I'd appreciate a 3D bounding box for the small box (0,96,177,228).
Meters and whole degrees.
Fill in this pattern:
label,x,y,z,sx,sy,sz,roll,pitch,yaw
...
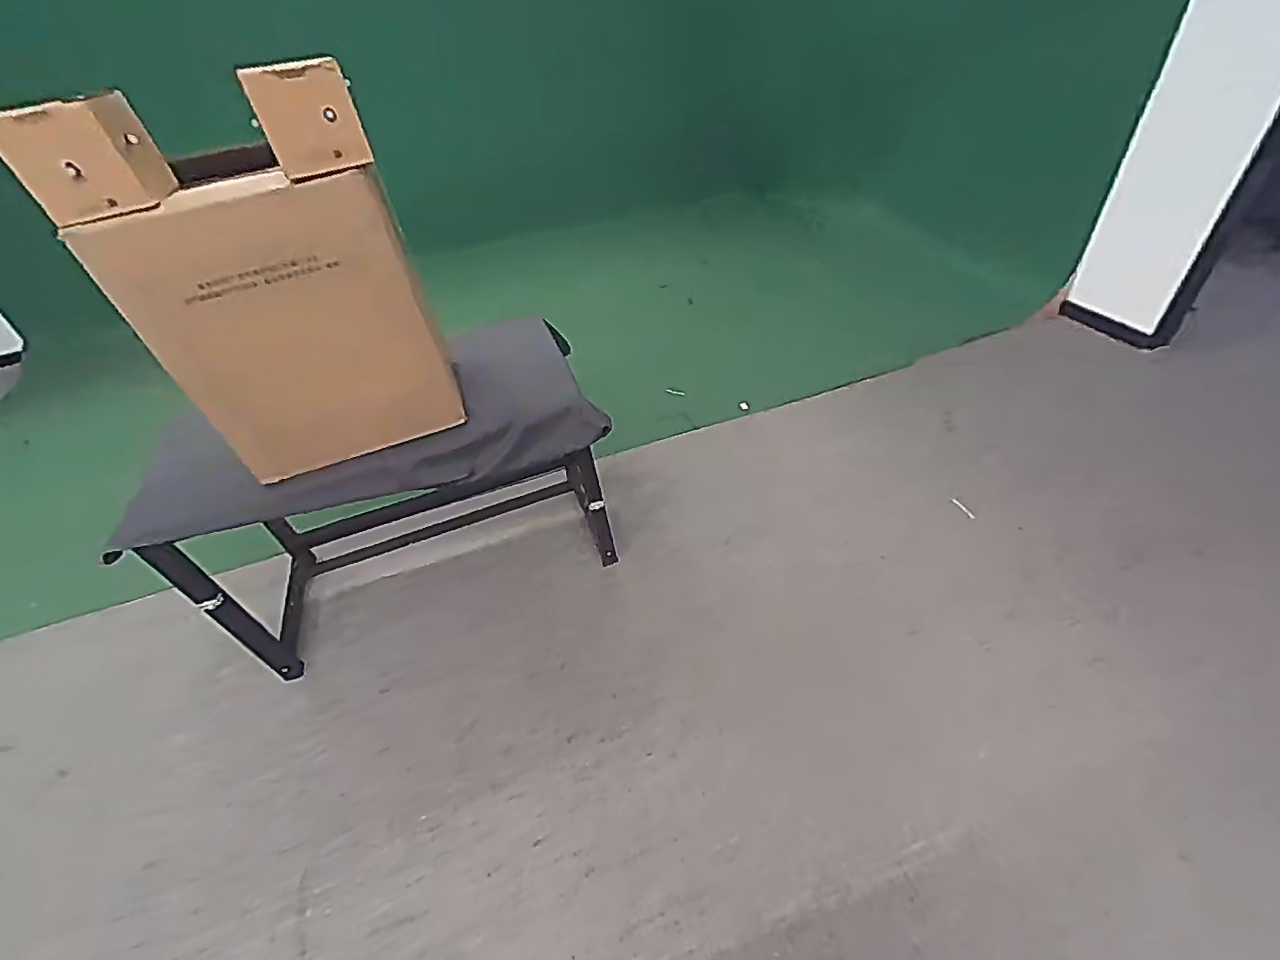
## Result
label,x,y,z,sx,sy,sz,roll,pitch,yaw
small box,-1.011,-0.582,0.996,0.168,0.176,0.179,-19,43,-10

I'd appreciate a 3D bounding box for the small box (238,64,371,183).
label,x,y,z,sx,sy,sz,roll,pitch,yaw
small box,-0.649,-0.696,1.059,0.168,0.176,0.179,-23,43,-18
